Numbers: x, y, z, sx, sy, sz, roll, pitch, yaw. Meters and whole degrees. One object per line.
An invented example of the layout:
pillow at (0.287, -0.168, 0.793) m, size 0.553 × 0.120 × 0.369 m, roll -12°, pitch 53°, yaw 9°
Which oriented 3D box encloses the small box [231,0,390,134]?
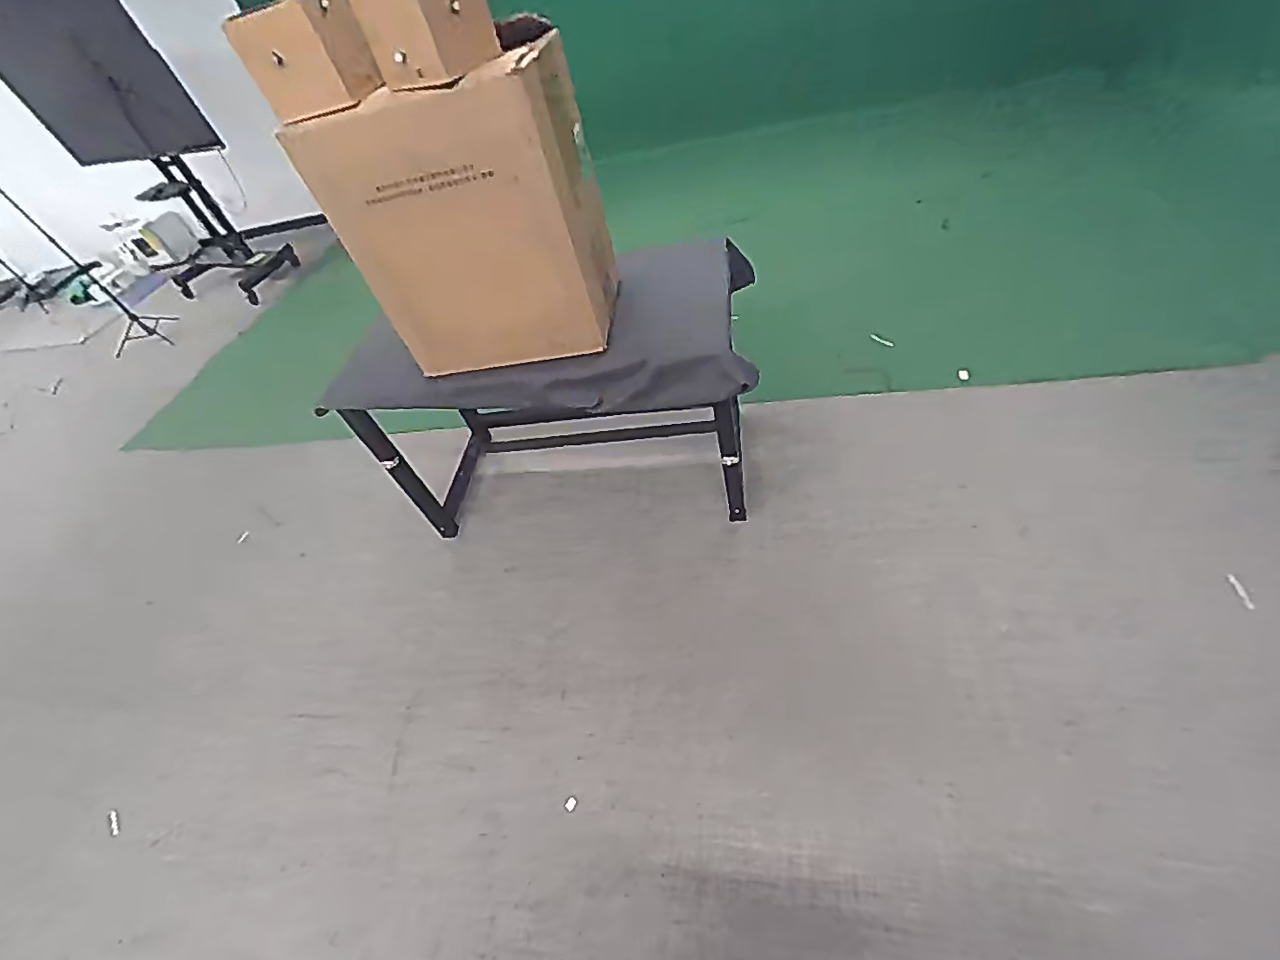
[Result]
small box at (-0.650, -0.828, 1.089) m, size 0.179 × 0.176 × 0.168 m, roll -7°, pitch 48°, yaw 14°

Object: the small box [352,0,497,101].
small box at (-0.398, -0.852, 1.033) m, size 0.168 × 0.176 × 0.179 m, roll 14°, pitch 55°, yaw 27°
